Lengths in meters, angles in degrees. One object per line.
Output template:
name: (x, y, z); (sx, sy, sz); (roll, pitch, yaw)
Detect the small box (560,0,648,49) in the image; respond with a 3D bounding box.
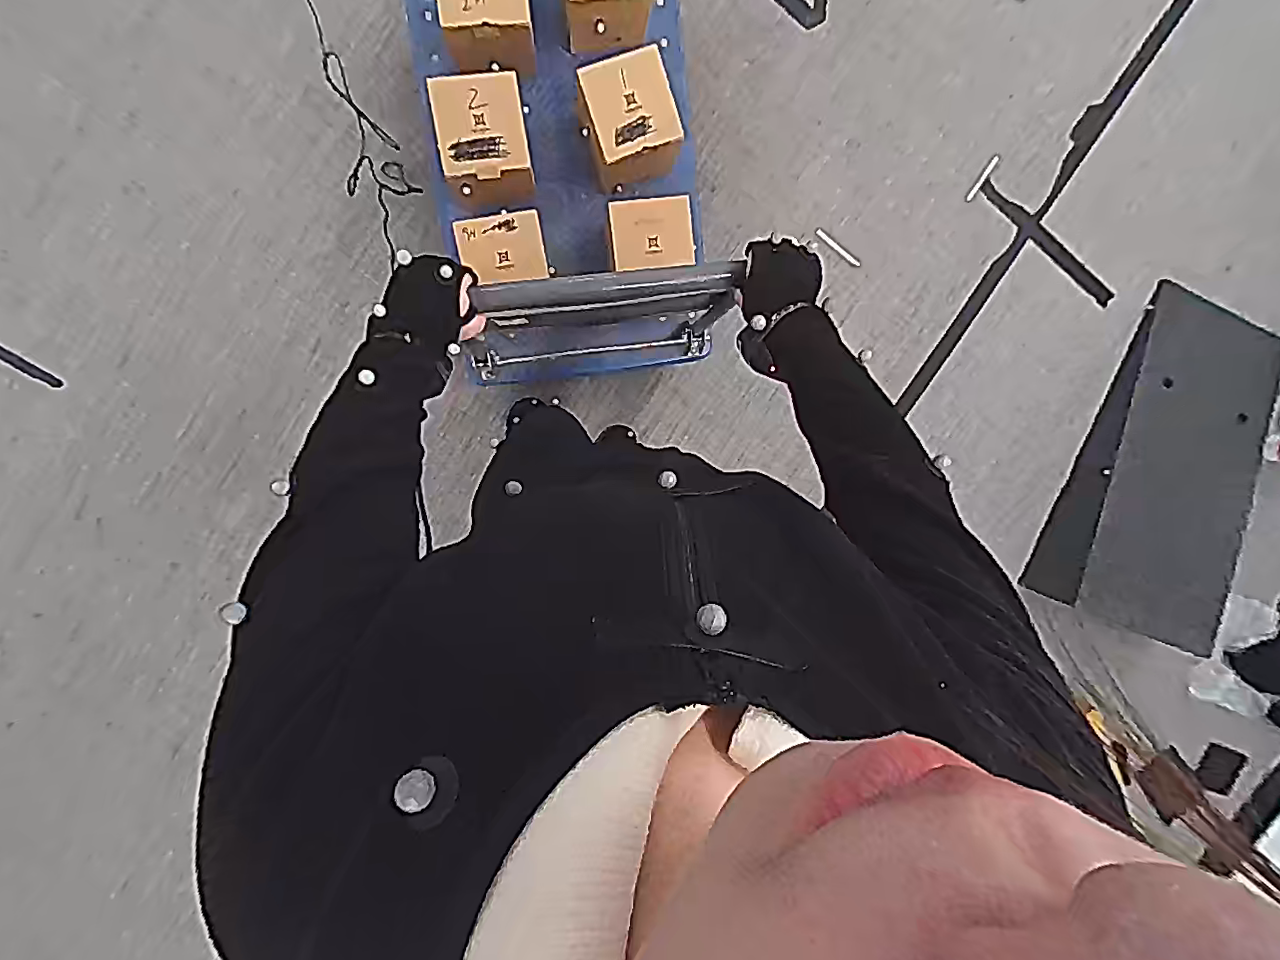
small box: (-0.078, -1.002, 1.077); (0.168, 0.176, 0.179); (-11, 100, -4)

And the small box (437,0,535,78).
small box: (-0.302, -0.932, 1.060); (0.168, 0.176, 0.179); (-6, 100, -5)

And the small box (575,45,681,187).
small box: (-0.027, -0.737, 1.123); (0.168, 0.176, 0.179); (-20, 100, -3)

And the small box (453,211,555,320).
small box: (-0.275, -0.440, 1.139); (0.168, 0.176, 0.179); (-12, 100, -6)

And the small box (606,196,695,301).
small box: (0.019, -0.489, 1.166); (0.168, 0.176, 0.179); (-7, 100, -6)
